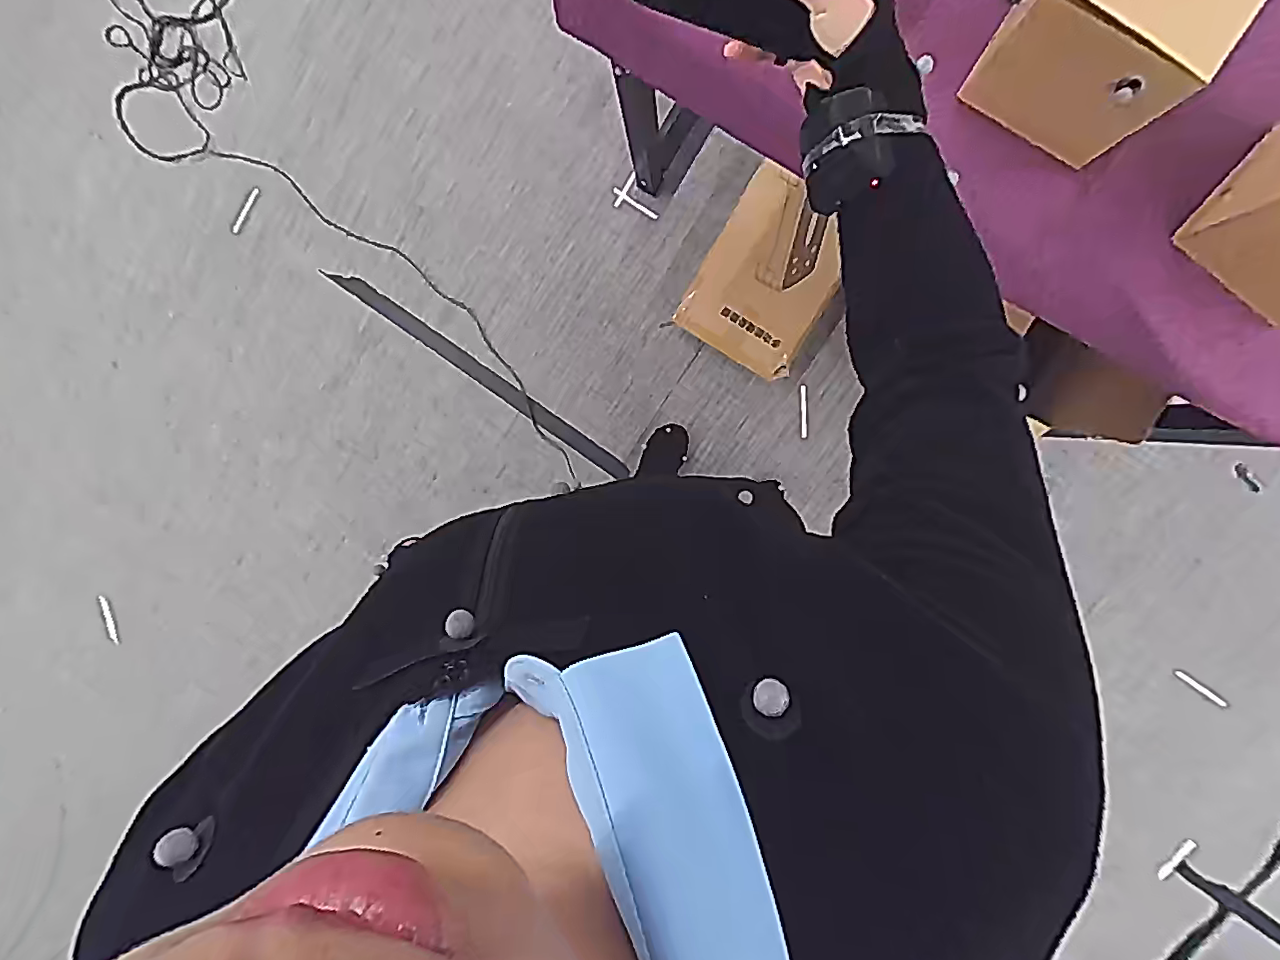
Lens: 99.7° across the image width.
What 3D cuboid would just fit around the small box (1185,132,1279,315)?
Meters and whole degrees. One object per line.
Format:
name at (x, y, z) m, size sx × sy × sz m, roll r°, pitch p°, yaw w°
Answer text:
small box at (0.756, -0.295, 0.564) m, size 0.179 × 0.176 × 0.168 m, roll 39°, pitch 98°, yaw 0°

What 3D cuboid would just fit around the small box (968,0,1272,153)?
small box at (0.499, -0.483, 0.563) m, size 0.179 × 0.176 × 0.168 m, roll 32°, pitch 96°, yaw 1°
